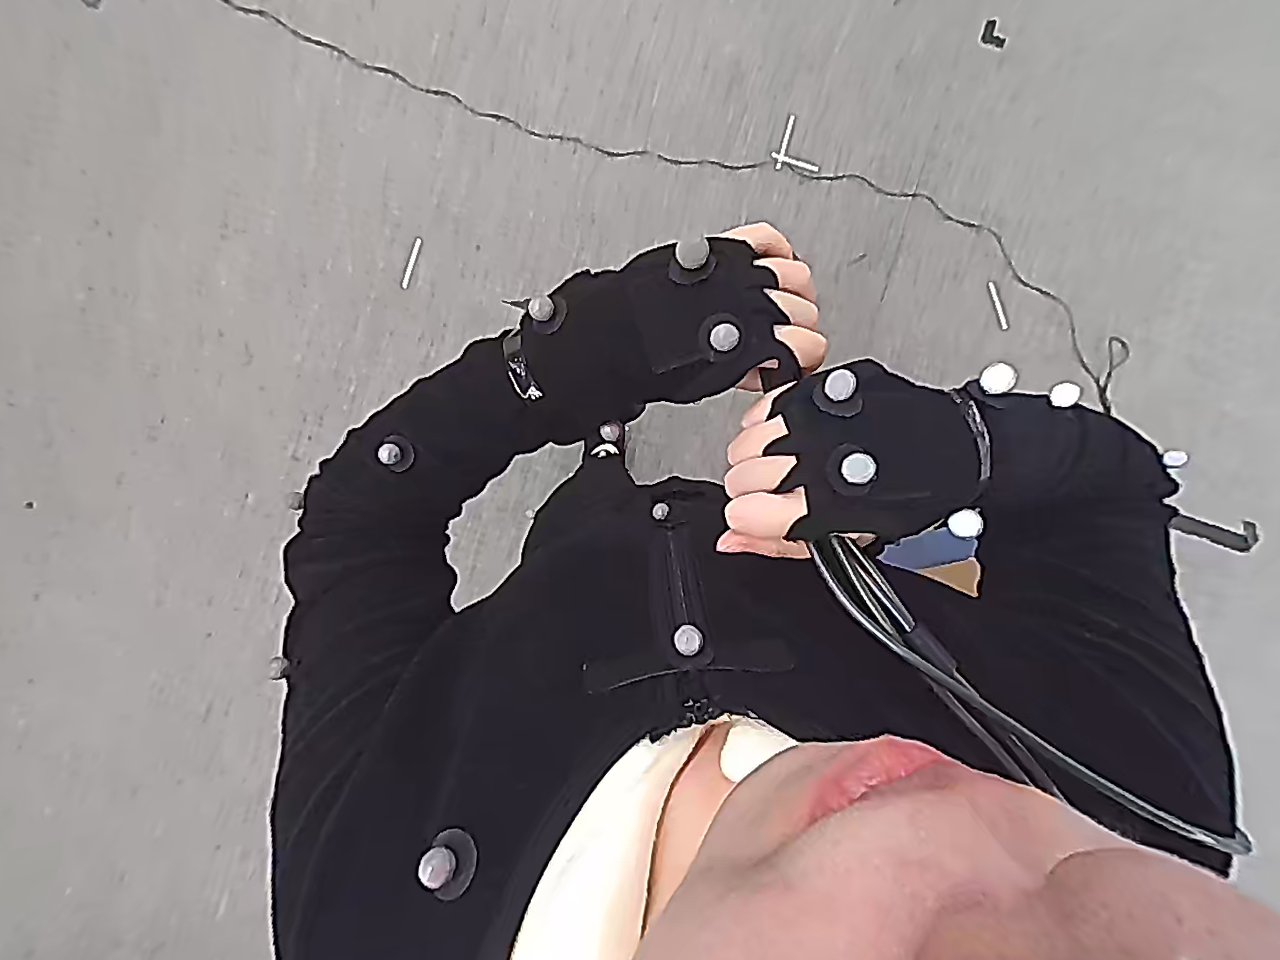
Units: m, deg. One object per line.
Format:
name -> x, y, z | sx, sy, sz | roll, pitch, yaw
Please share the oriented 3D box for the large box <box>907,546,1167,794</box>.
large box -> 0.855, 0.392, 1.212 | 0.320, 0.320, 0.408 | -11, 93, -1
